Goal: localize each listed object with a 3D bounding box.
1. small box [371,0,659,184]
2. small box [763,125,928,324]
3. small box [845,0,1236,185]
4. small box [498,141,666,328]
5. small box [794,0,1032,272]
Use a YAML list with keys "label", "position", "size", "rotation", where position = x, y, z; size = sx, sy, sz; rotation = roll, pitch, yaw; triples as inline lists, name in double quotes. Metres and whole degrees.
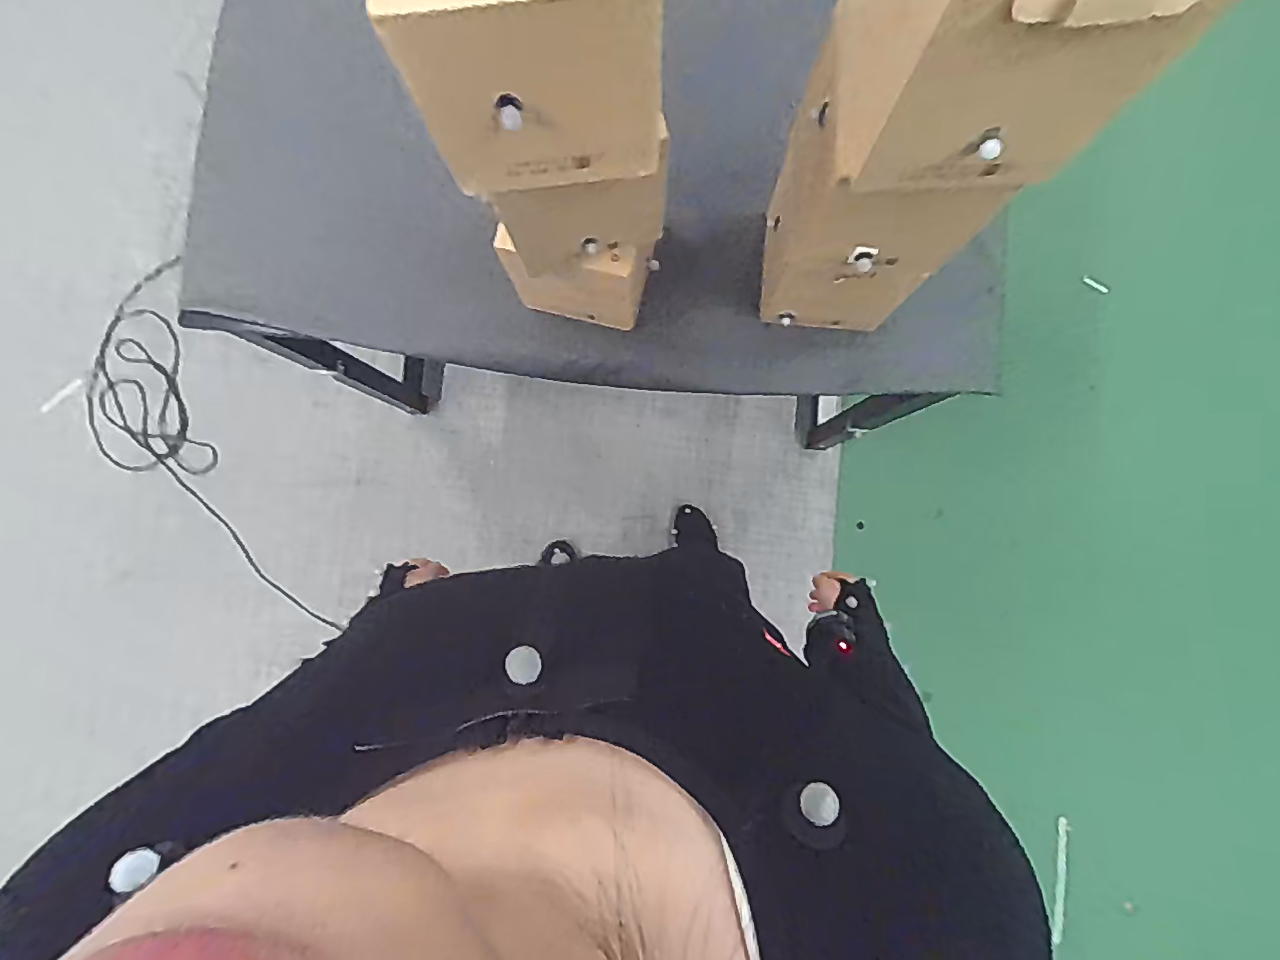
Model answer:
- label: "small box"
  position: [-0.076, -0.339, 0.385]
  size: [0.168, 0.176, 0.179]
  rotation: [-7, 85, 0]
- label: "small box"
  position: [0.261, -0.320, 0.705]
  size: [0.168, 0.176, 0.179]
  rotation: [5, 83, 2]
- label: "small box"
  position: [0.254, -0.343, 0.378]
  size: [0.168, 0.176, 0.179]
  rotation: [-2, 83, 3]
- label: "small box"
  position: [-0.068, -0.328, 0.713]
  size: [0.168, 0.176, 0.179]
  rotation: [13, 84, 2]
- label: "small box"
  position: [0.256, -0.333, 0.544]
  size: [0.168, 0.176, 0.179]
  rotation: [1, 85, 3]
